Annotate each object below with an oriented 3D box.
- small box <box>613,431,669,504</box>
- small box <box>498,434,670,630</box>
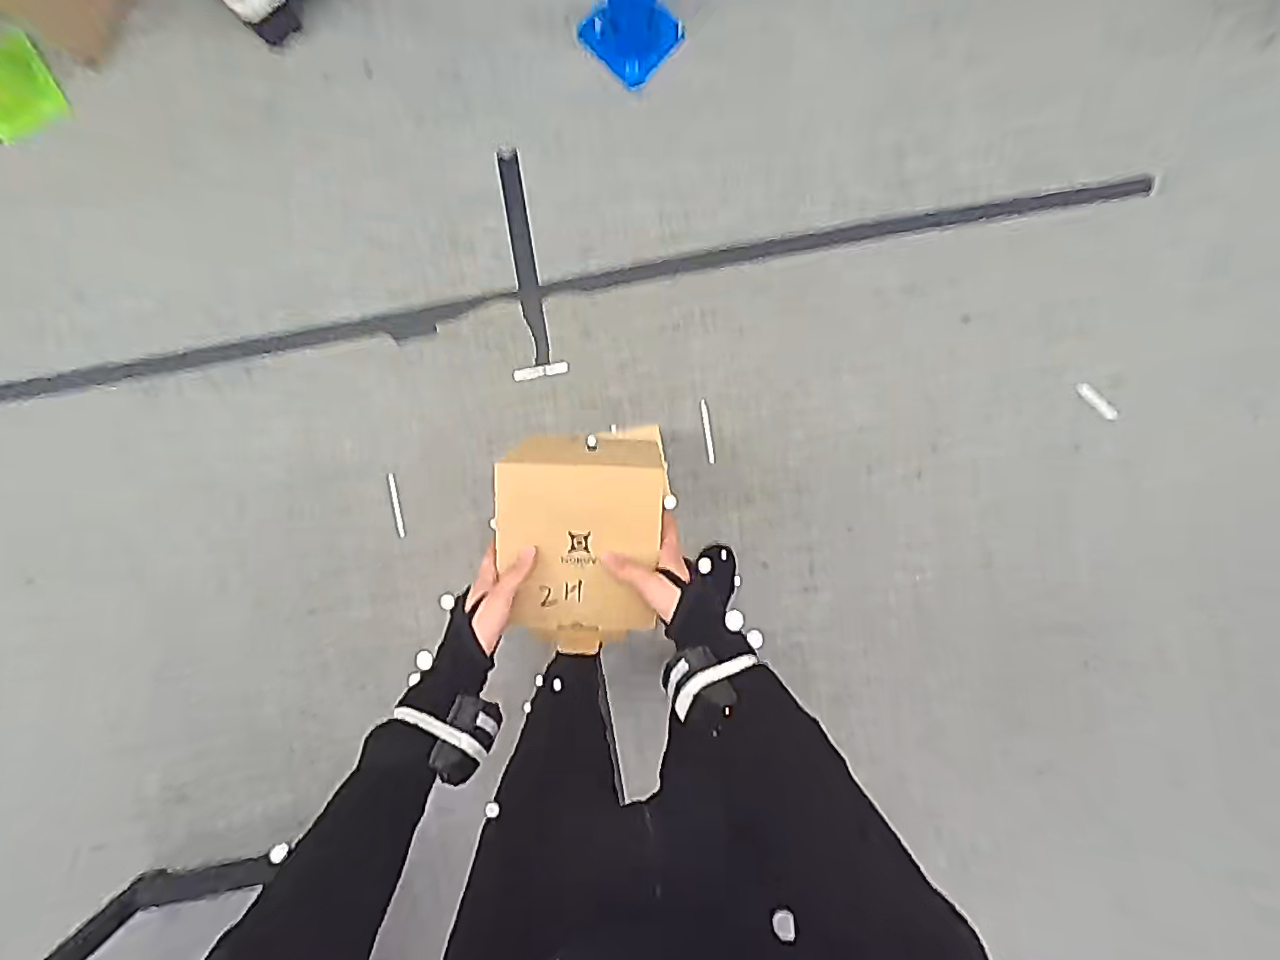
[{"bbox_3d":[-0.031,-0.014,1.284,0.168,0.176,0.179,-13,92,-1],"label":"small box"},{"bbox_3d":[-0.059,0.047,0.610,0.168,0.176,0.179,3,104,-1],"label":"small box"}]
